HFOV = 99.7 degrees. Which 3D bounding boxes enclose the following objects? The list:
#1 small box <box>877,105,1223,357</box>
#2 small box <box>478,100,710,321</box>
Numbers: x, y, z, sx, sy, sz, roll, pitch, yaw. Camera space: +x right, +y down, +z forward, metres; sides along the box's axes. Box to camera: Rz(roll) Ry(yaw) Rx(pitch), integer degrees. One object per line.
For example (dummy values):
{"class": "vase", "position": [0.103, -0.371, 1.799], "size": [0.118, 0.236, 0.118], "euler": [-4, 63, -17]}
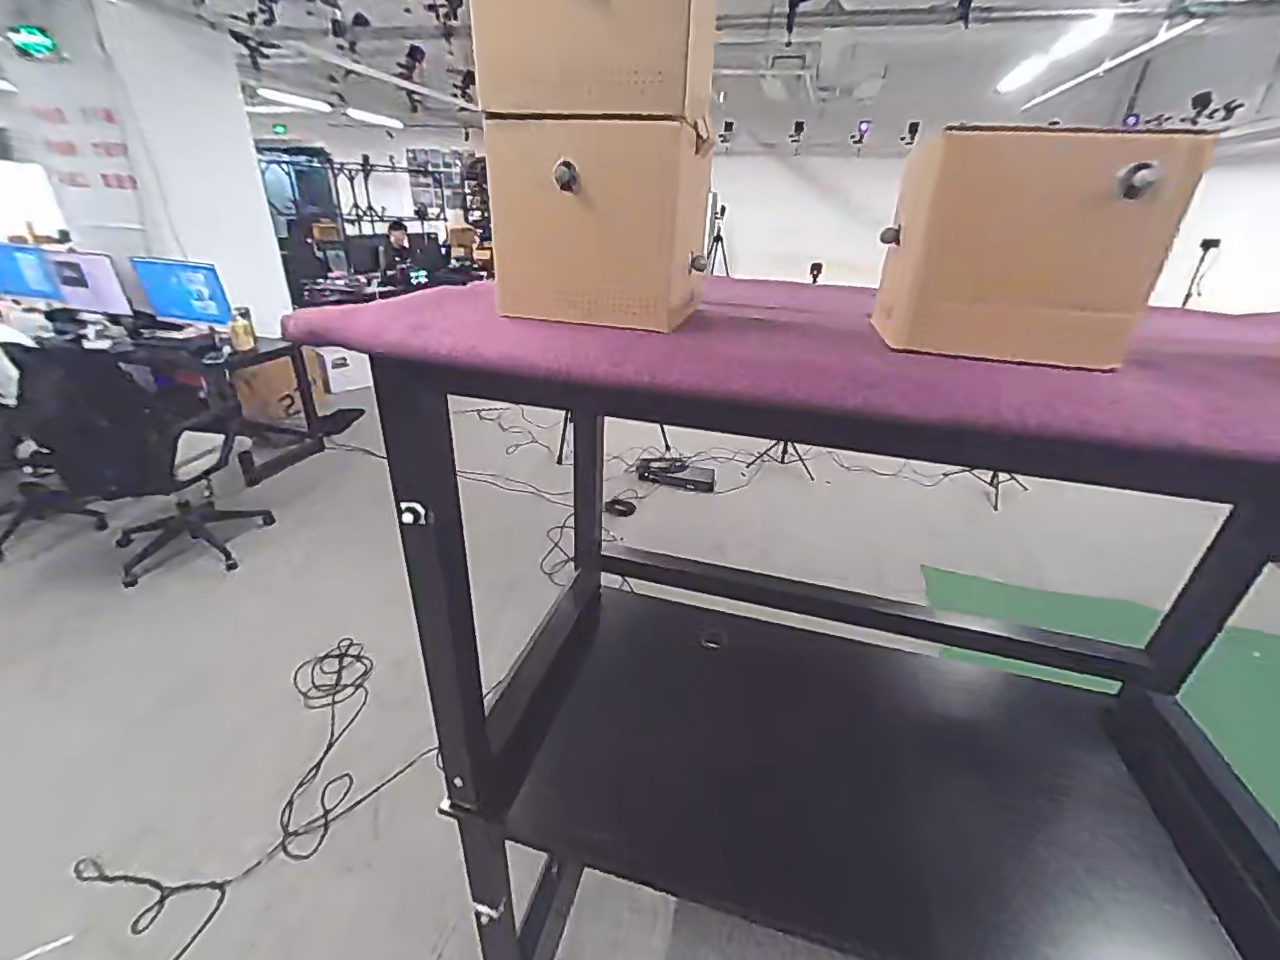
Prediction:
{"class": "small box", "position": [0.319, -0.209, 0.475], "size": [0.179, 0.176, 0.168], "euler": [9, 26, 12]}
{"class": "small box", "position": [-0.036, -0.259, 0.535], "size": [0.179, 0.176, 0.168], "euler": [9, 29, 12]}
